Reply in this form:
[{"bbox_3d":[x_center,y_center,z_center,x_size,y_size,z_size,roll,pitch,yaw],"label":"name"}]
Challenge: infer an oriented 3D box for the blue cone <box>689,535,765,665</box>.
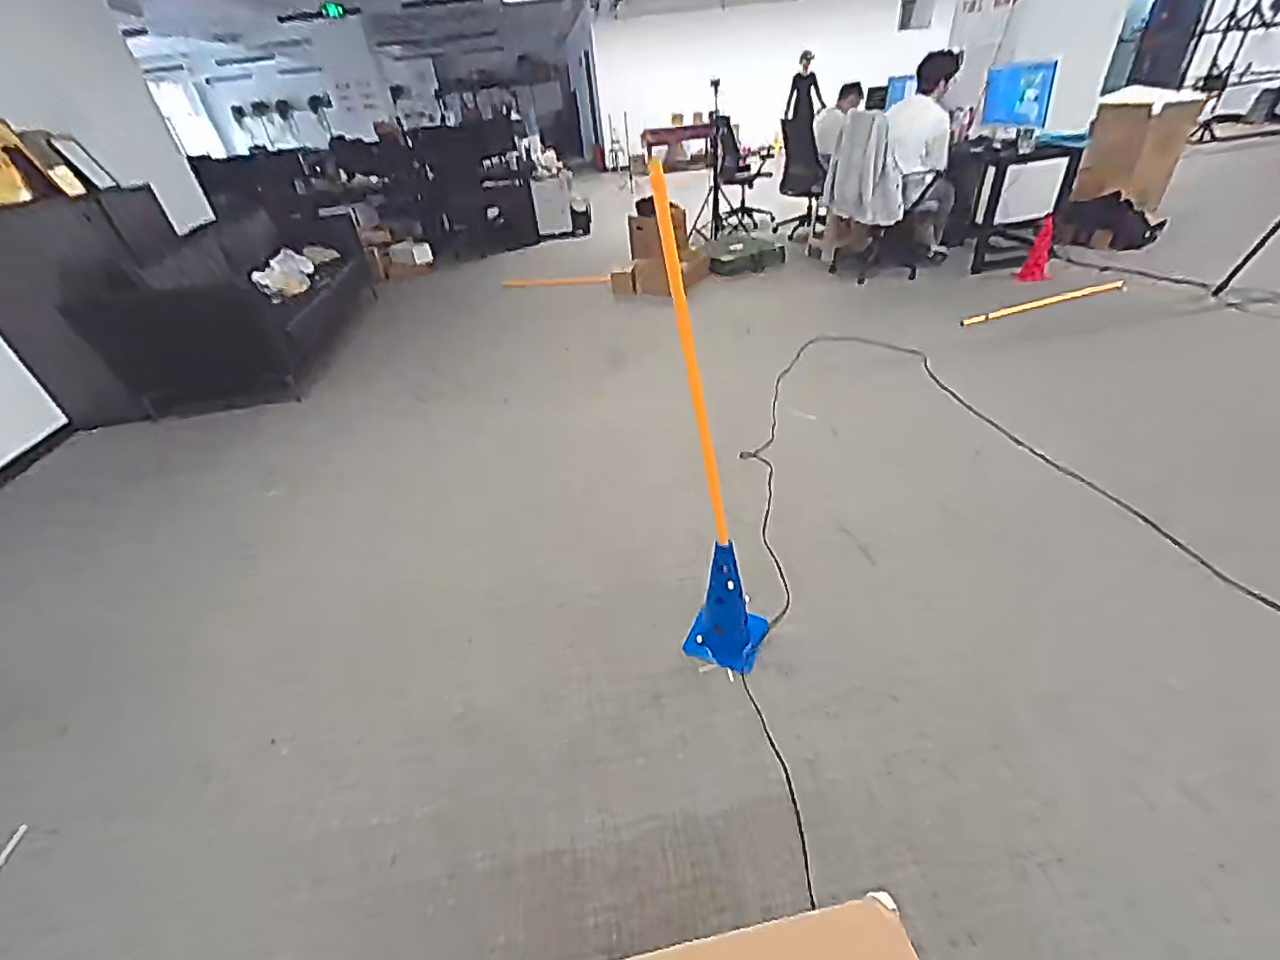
[{"bbox_3d":[0.227,0.298,1.431,0.192,0.380,0.193,9,39,23],"label":"blue cone"}]
